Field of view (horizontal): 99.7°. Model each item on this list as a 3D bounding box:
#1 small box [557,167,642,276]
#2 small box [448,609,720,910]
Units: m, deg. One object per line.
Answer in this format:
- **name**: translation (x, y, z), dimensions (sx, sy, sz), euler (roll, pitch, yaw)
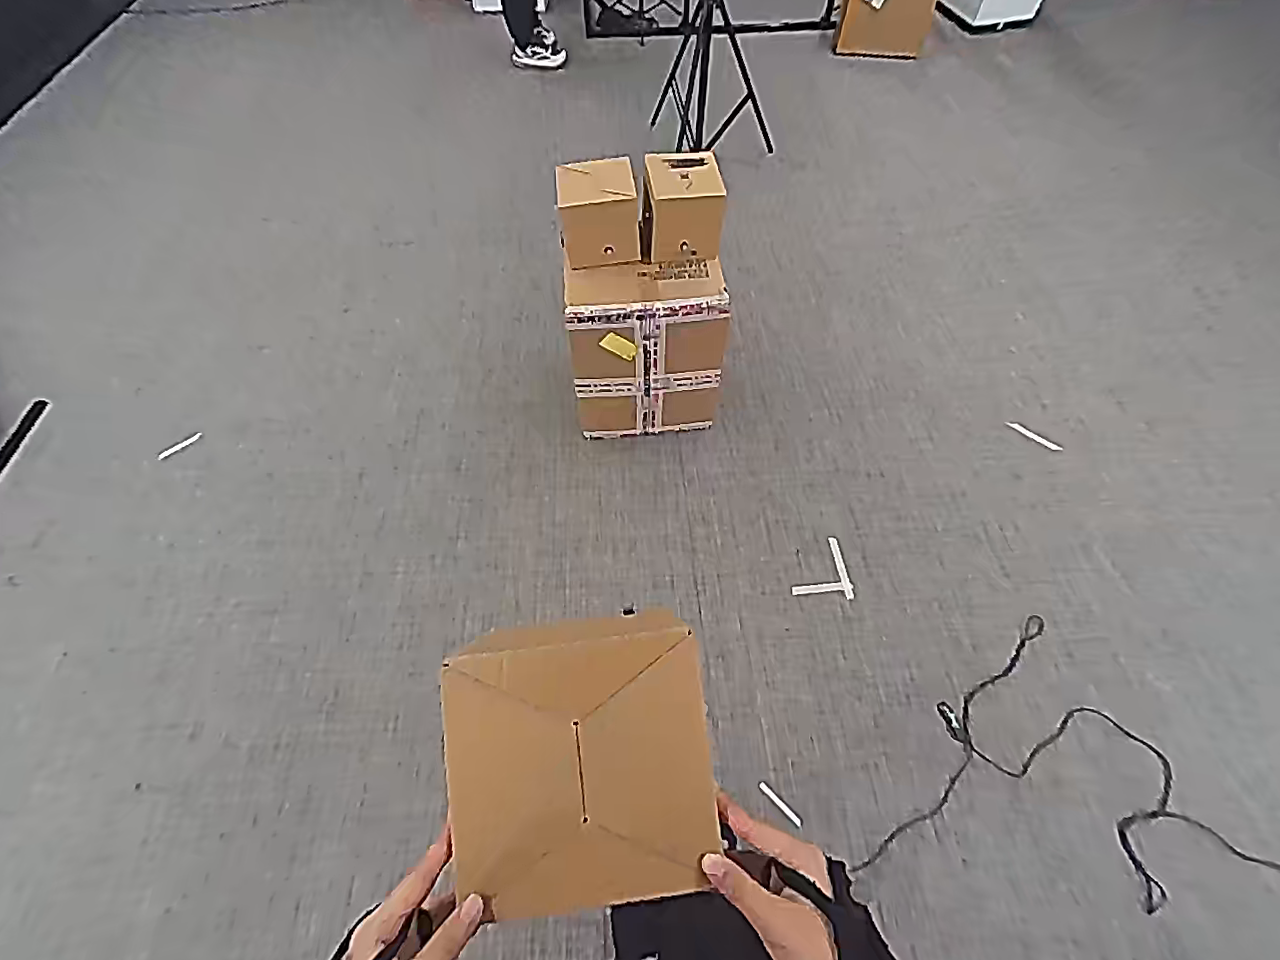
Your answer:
- **small box**: translation (-0.096, -0.624, 1.299), dimensions (0.179, 0.176, 0.168), euler (-7, 59, -1)
- **small box**: translation (-0.045, 0.205, 0.442), dimensions (0.179, 0.176, 0.168), euler (-6, 83, -3)
